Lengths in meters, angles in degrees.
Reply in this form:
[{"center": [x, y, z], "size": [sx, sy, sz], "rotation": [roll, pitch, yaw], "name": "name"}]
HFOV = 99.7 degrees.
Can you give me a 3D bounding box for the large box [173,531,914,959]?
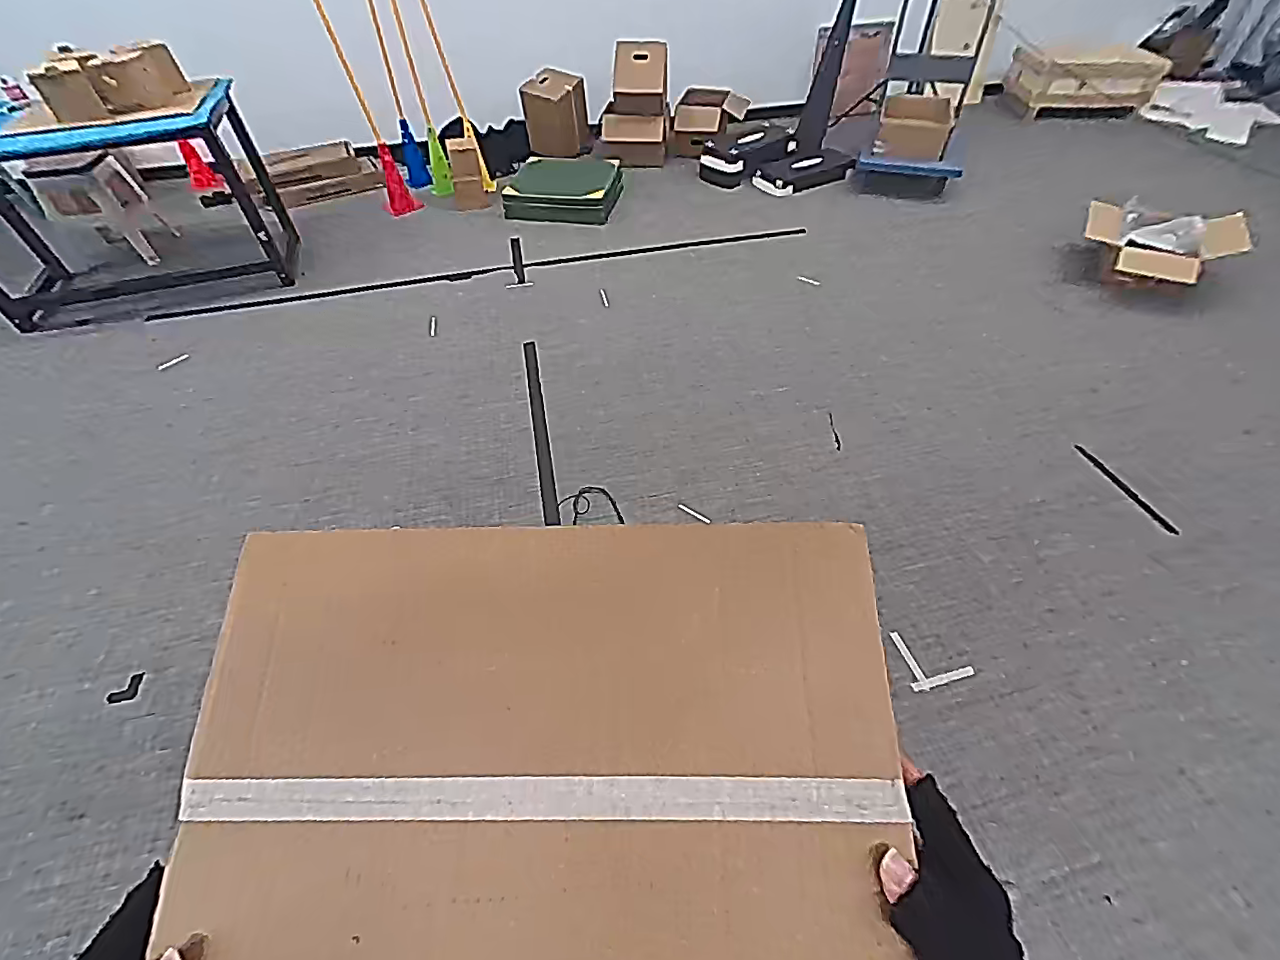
[{"center": [-0.050, 0.235, 0.452], "size": [0.408, 0.320, 0.320], "rotation": [-1, 71, 3], "name": "large box"}]
